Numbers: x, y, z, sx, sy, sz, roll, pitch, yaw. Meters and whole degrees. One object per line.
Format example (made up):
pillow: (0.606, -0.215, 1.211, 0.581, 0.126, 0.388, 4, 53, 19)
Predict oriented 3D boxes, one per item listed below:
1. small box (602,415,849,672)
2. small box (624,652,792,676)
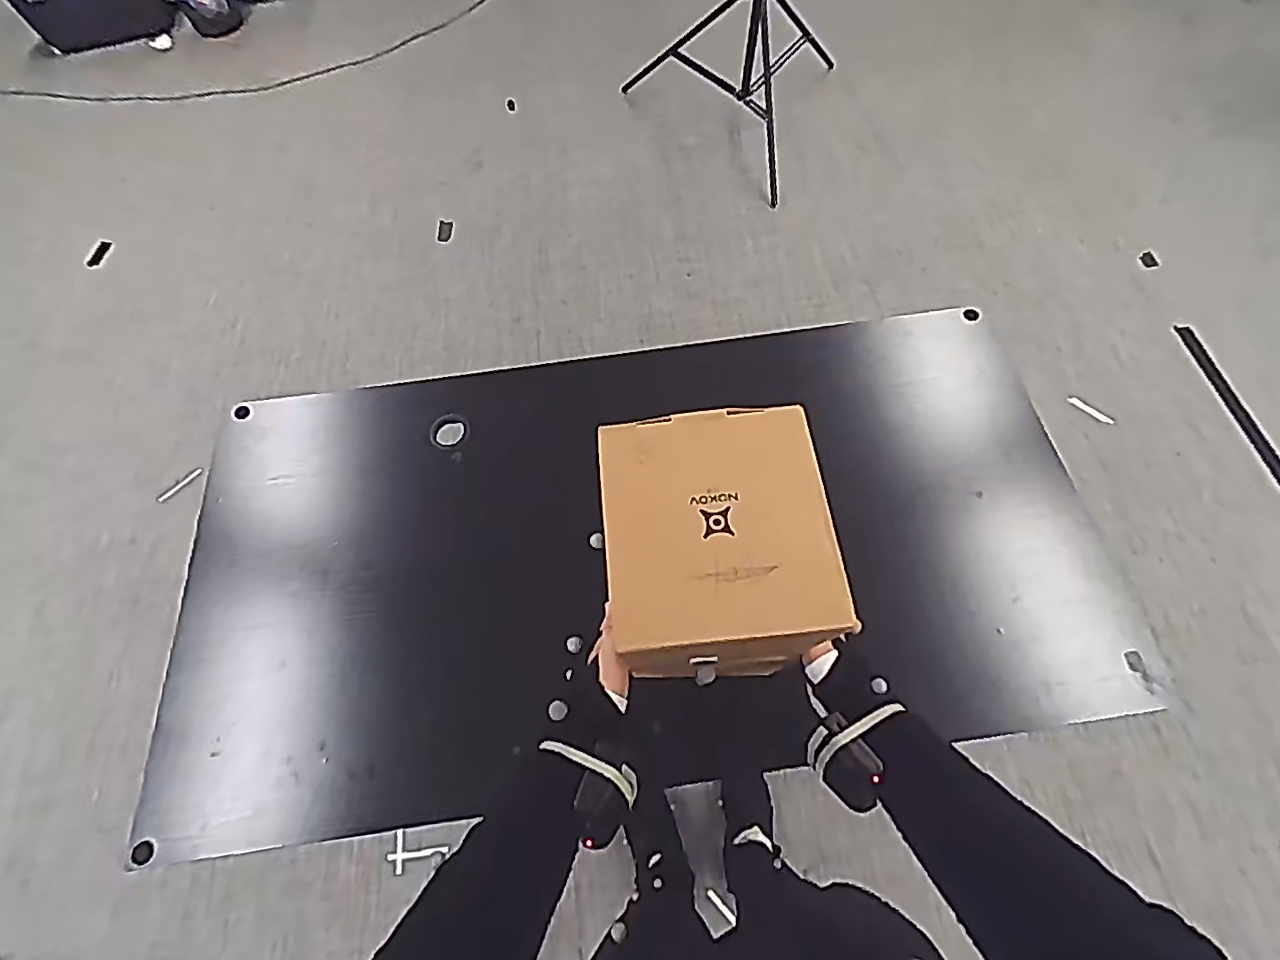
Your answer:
small box: (0.059, 0.065, 0.477, 0.168, 0.176, 0.179, -6, 67, 1)
small box: (0.069, 0.131, 0.625, 0.168, 0.176, 0.179, -1, 65, 1)
